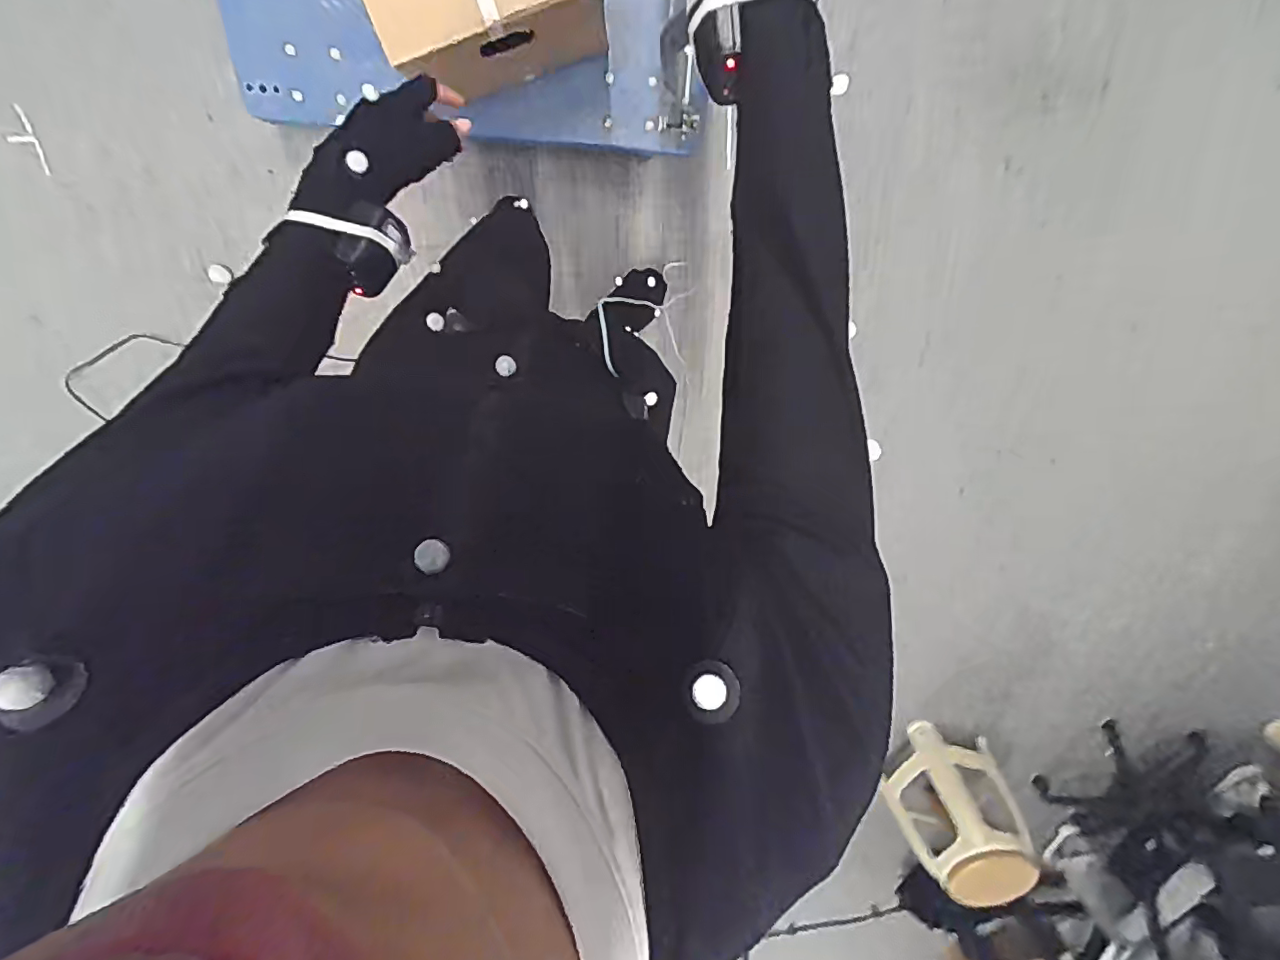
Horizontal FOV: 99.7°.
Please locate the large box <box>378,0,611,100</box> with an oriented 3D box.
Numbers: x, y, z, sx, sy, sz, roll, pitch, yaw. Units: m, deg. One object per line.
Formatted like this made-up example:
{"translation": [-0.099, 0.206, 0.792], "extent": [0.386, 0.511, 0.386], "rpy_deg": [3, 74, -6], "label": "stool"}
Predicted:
{"translation": [-0.250, -0.859, 0.786], "extent": [0.320, 0.320, 0.408], "rpy_deg": [-16, 116, 7], "label": "large box"}
